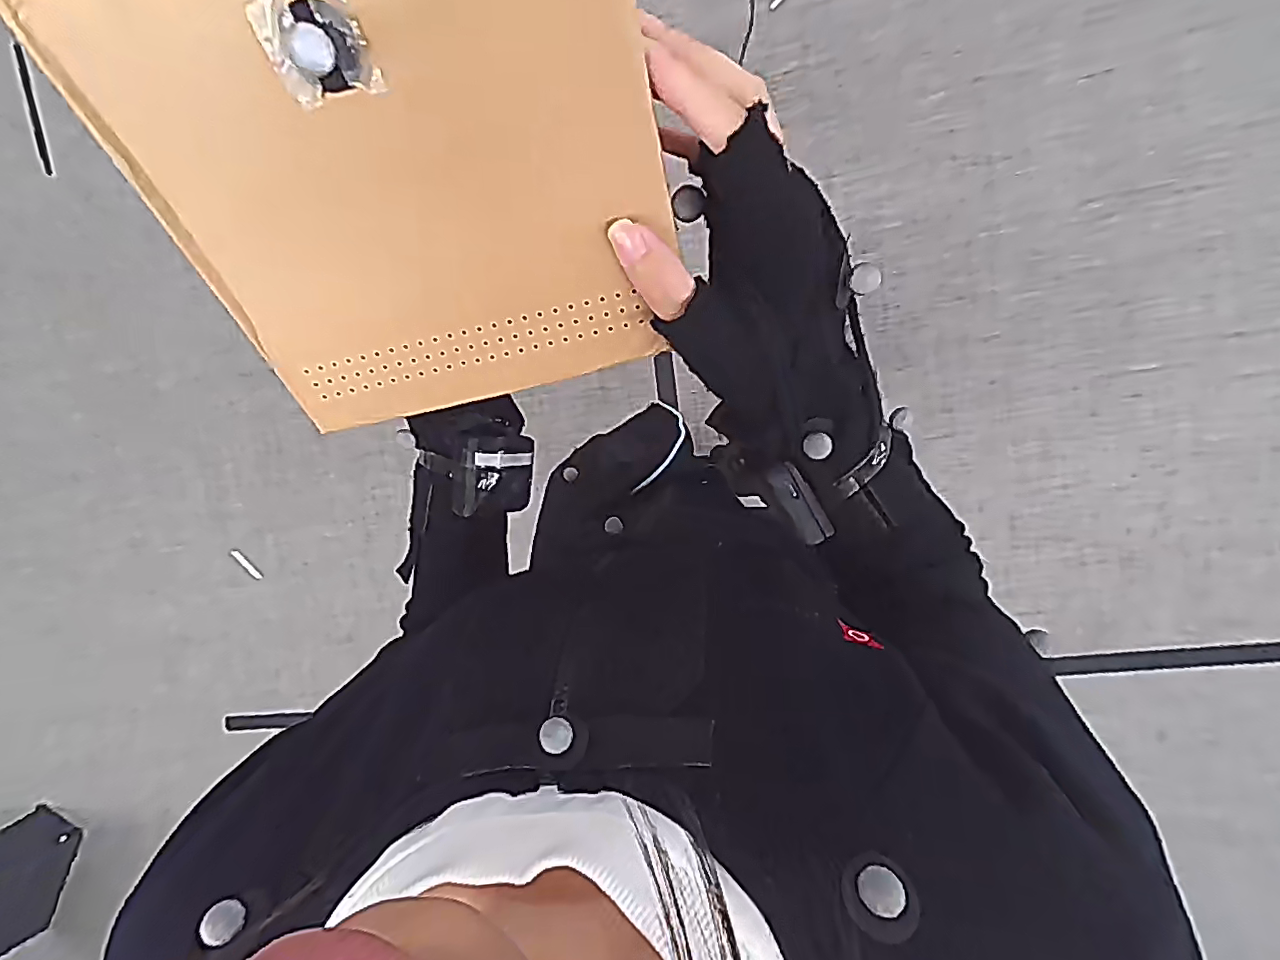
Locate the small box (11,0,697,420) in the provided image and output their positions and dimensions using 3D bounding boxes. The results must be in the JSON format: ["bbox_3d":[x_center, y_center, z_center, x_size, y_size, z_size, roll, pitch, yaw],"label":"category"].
[{"bbox_3d":[-0.079,-0.147,0.250,0.179,0.168,0.176,-11,132,7],"label":"small box"}]
